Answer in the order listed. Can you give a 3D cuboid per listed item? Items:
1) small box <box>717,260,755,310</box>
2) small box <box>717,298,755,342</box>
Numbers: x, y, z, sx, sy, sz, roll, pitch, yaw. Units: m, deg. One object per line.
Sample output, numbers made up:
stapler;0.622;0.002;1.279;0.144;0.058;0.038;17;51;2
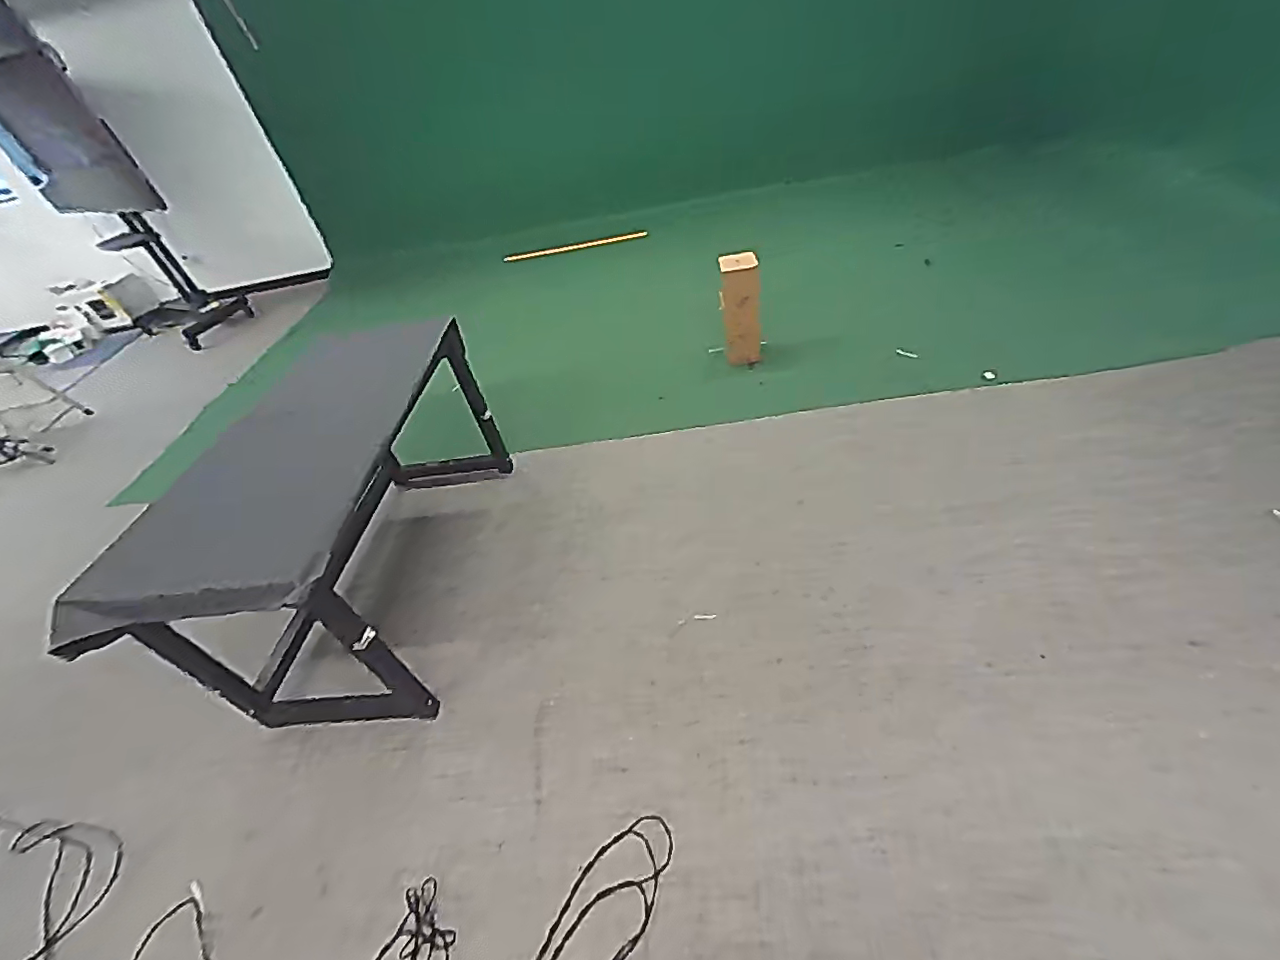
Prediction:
small box;0.459;-0.933;2.590;0.168;0.176;0.179;-6;41;6
small box;0.477;-0.806;2.695;0.168;0.176;0.179;-7;41;5
